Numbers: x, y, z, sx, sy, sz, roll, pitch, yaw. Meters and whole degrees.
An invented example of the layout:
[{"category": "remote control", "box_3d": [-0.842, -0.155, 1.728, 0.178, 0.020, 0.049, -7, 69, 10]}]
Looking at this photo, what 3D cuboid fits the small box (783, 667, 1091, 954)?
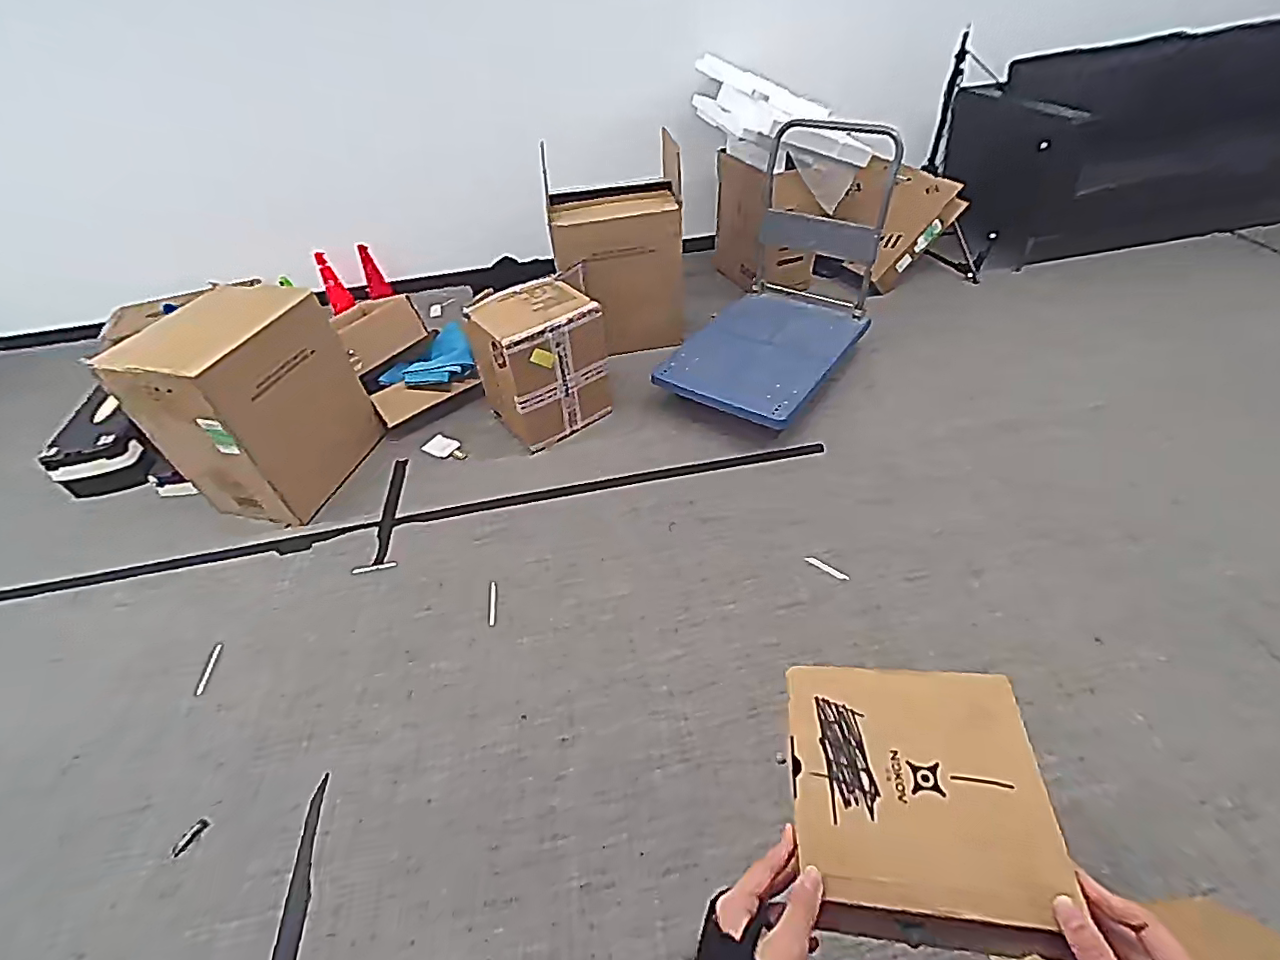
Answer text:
[{"category": "small box", "box_3d": [0.216, 0.275, 0.453, 0.179, 0.176, 0.168, -3, 46, 13]}]
